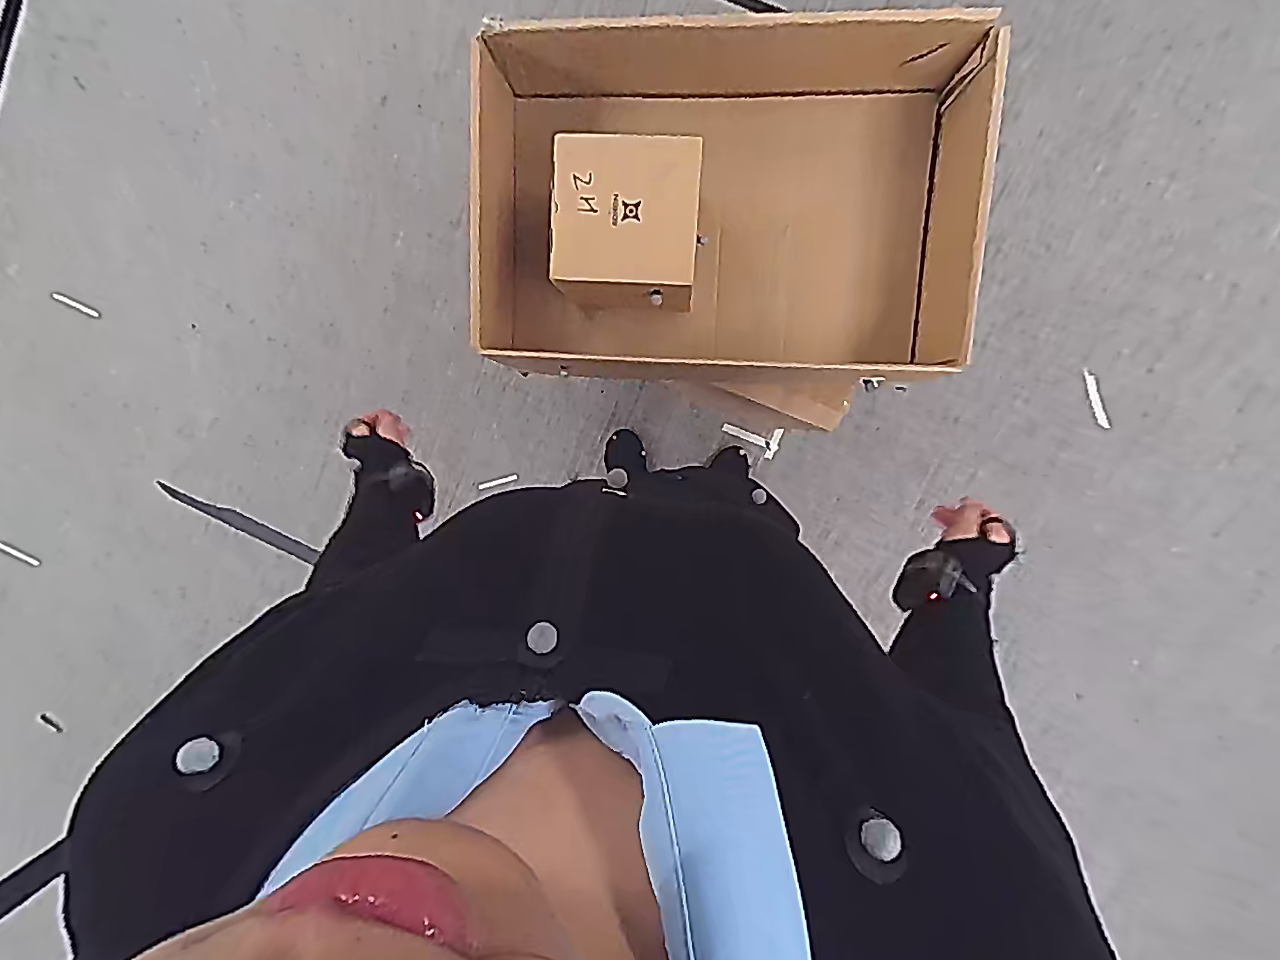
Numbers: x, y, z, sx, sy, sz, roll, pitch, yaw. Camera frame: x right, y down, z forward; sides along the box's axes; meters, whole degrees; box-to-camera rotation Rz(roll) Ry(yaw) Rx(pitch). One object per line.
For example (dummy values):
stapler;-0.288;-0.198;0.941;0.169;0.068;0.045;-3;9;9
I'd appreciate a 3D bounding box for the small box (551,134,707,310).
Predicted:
small box;-0.009;-0.325;0.713;0.179;0.176;0.168;4;97;5
